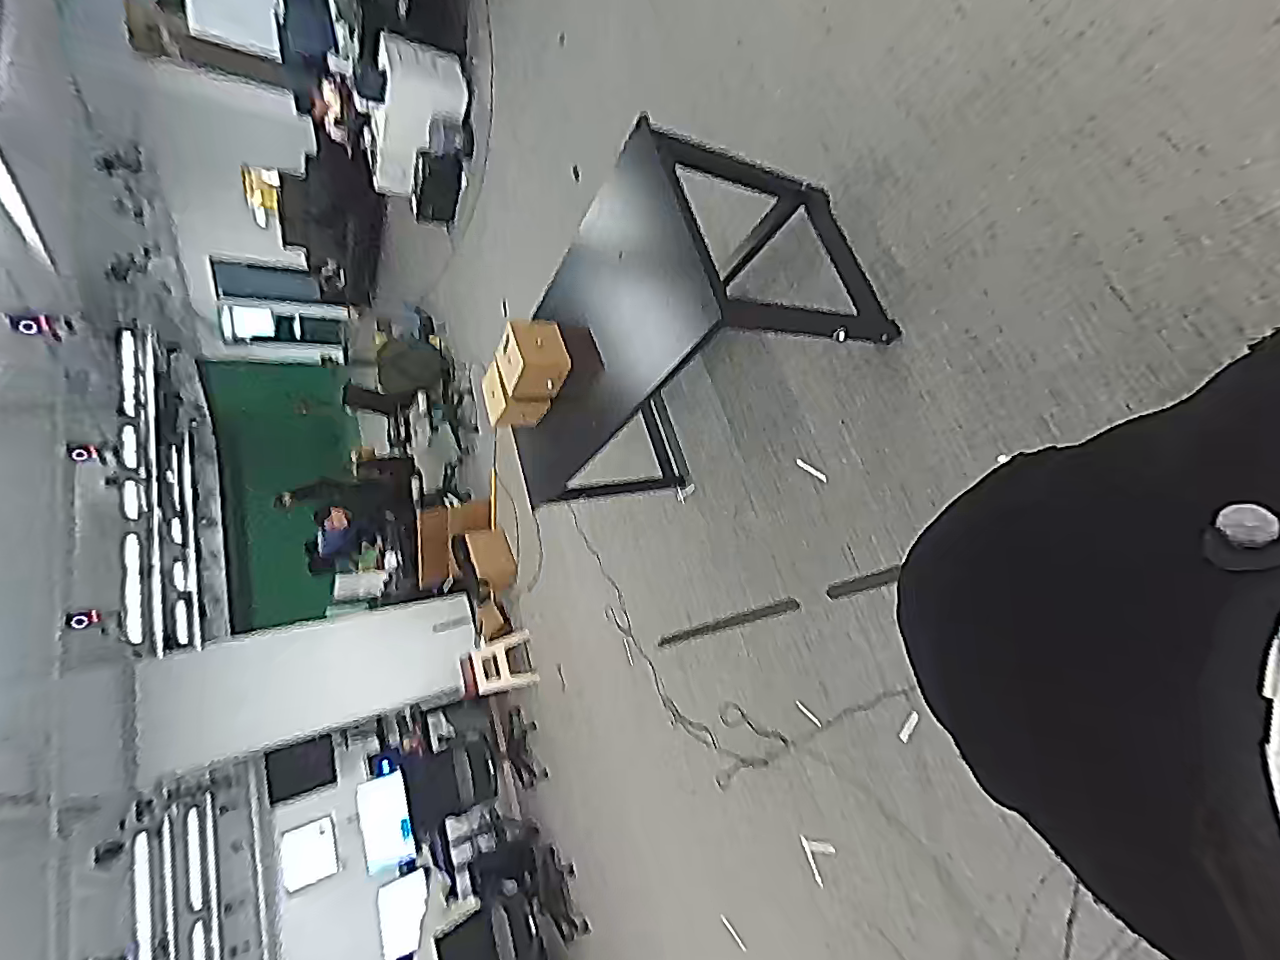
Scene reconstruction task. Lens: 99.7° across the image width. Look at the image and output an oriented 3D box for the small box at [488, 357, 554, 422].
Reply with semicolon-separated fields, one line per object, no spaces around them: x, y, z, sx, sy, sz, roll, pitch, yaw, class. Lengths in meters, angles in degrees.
-0.418;-0.318;1.909;0.168;0.176;0.179;-34;66;52;small box
